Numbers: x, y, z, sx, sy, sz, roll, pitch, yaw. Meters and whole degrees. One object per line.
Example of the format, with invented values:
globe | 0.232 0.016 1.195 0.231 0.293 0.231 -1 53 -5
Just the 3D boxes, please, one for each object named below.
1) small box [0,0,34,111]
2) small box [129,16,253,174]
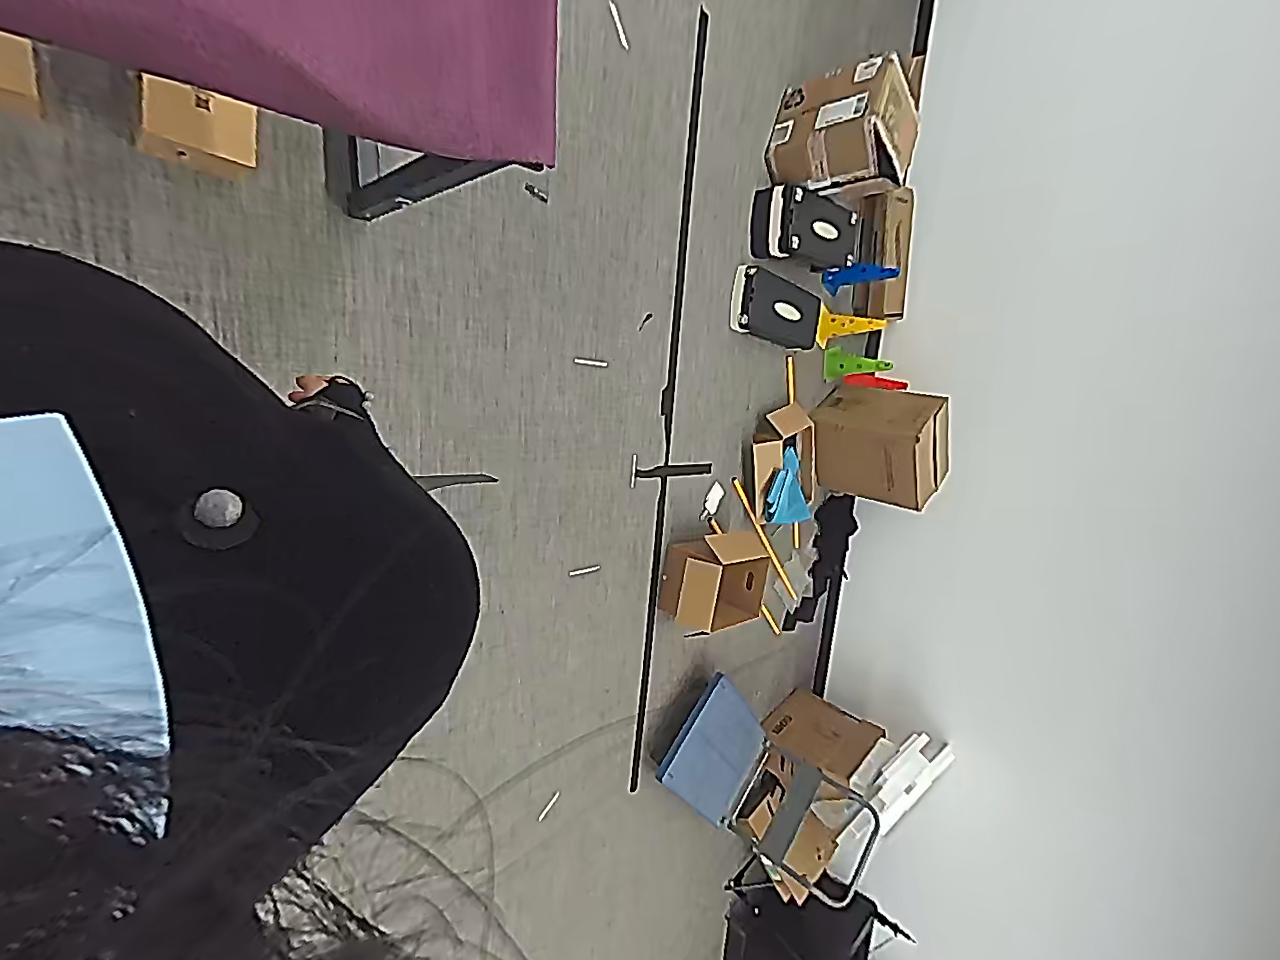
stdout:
small box | -1.059 -0.705 0.826 0.168 0.176 0.179 -5 104 -47
small box | -0.861 -0.717 1.037 0.168 0.176 0.179 -1 101 -46
